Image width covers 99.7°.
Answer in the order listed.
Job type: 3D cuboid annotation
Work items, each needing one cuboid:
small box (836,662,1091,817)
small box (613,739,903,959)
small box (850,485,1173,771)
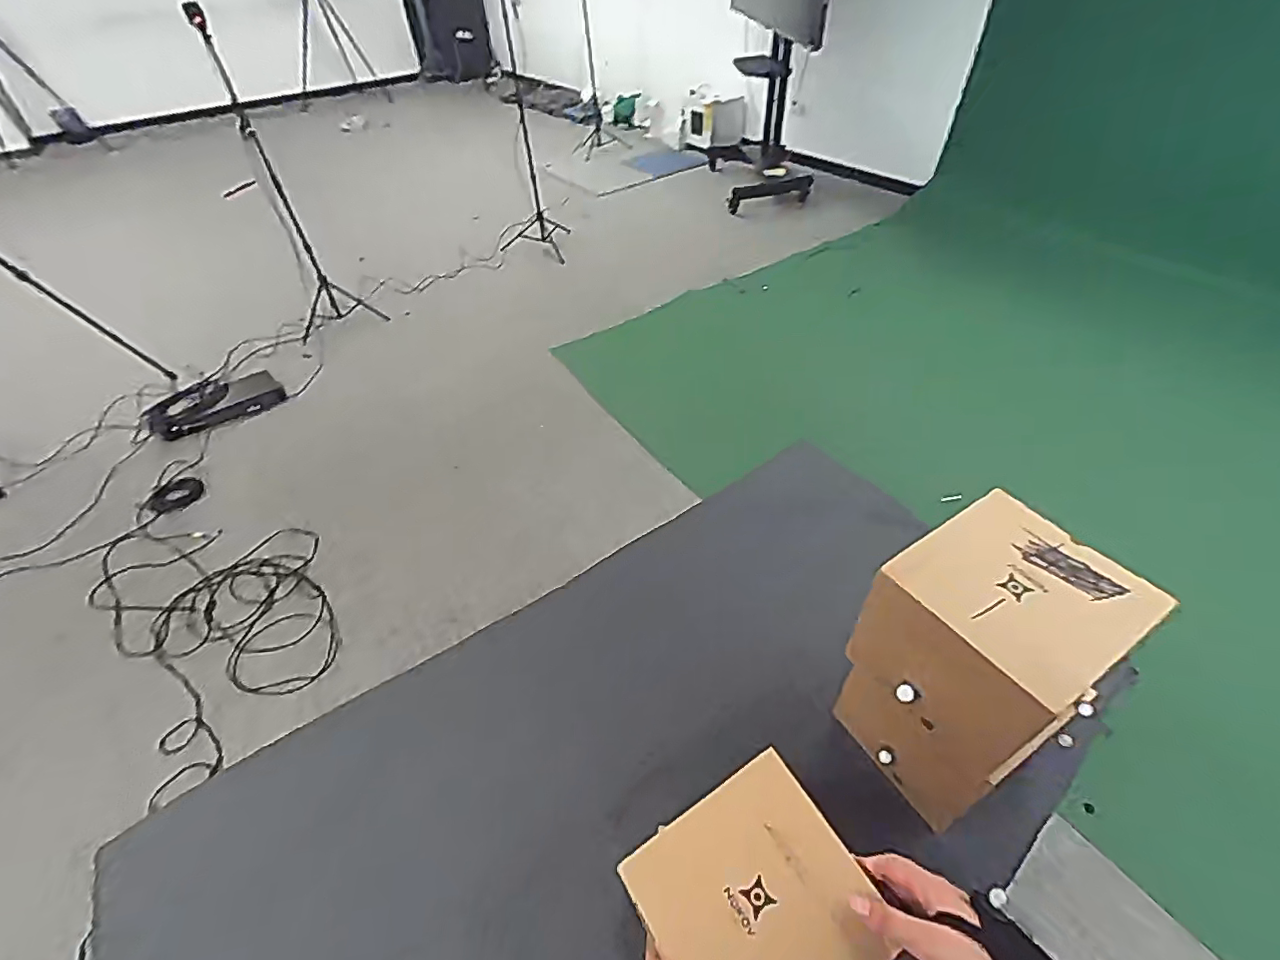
[{"bbox_3d":[0.362,0.258,0.643,0.179,0.176,0.168,-25,48,-18],"label":"small box"},{"bbox_3d":[0.102,0.380,0.499,0.179,0.176,0.168,-31,54,-12],"label":"small box"},{"bbox_3d":[0.336,0.142,0.528,0.179,0.176,0.168,-27,49,-19],"label":"small box"}]
